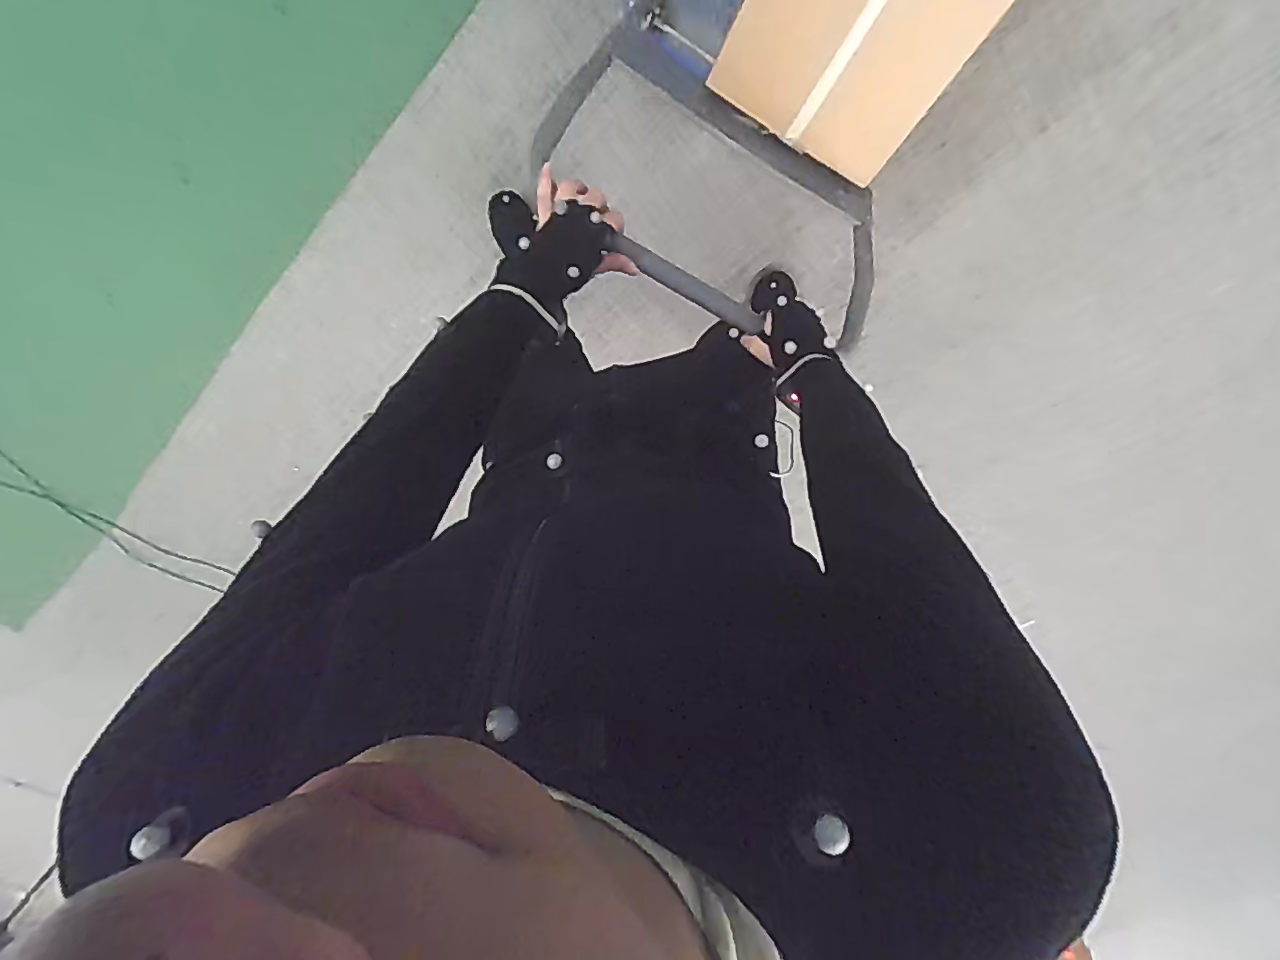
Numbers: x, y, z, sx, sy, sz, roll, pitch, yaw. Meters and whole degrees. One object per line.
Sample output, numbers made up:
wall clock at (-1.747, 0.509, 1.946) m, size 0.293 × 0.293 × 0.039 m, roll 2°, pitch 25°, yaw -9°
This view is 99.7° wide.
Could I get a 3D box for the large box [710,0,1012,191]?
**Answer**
large box at (0.354, -0.768, 0.845) m, size 0.320 × 0.320 × 0.408 m, roll 25°, pitch 139°, yaw -13°
